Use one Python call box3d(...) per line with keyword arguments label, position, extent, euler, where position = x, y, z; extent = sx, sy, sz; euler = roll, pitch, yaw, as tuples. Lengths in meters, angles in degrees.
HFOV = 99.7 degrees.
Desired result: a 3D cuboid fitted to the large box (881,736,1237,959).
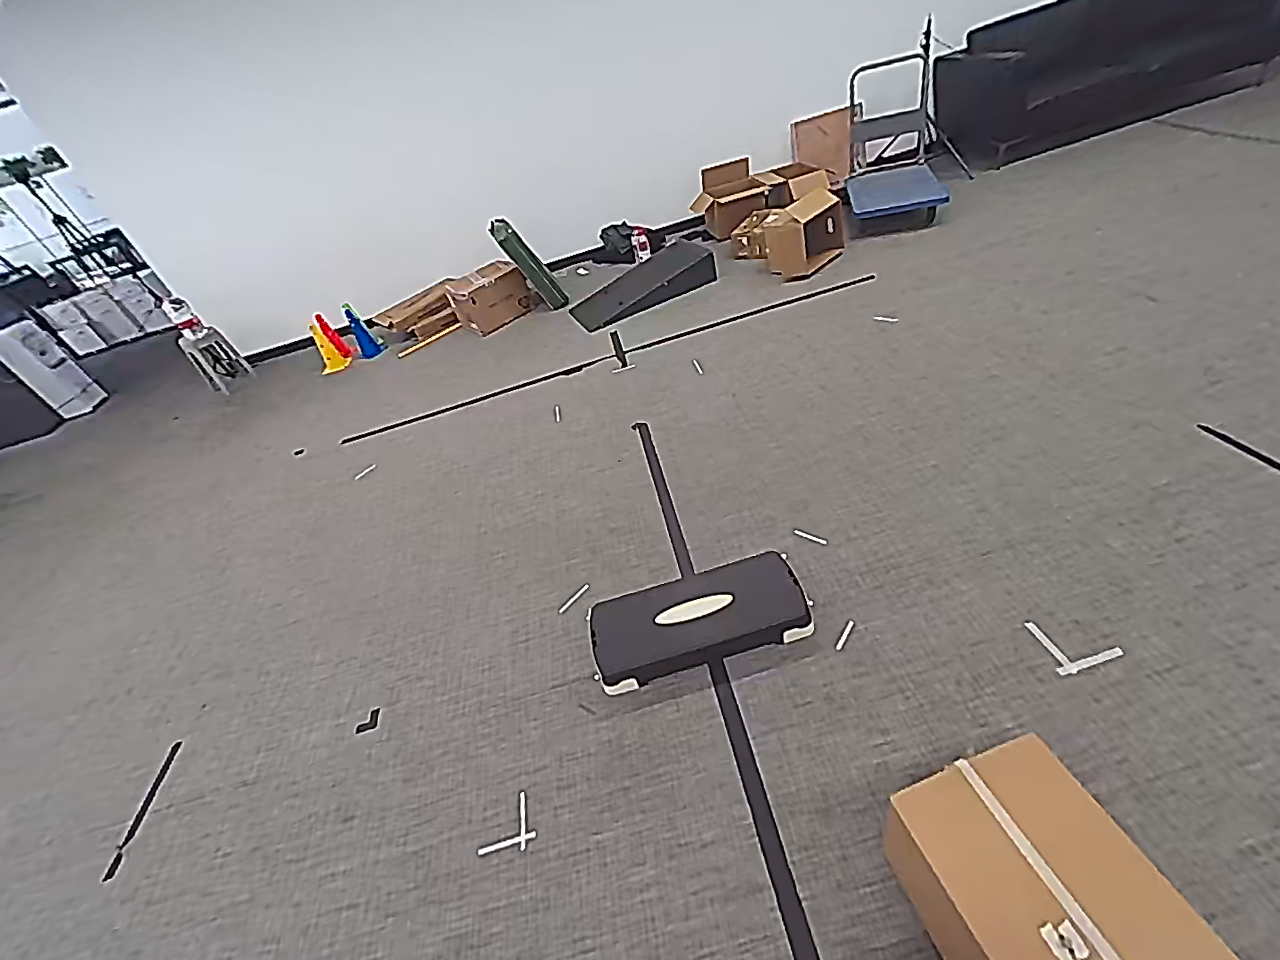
box3d(label="large box", position=(0.699, 0.763, 0.968), extent=(0.320, 0.320, 0.408), euler=(-22, 40, -4))
